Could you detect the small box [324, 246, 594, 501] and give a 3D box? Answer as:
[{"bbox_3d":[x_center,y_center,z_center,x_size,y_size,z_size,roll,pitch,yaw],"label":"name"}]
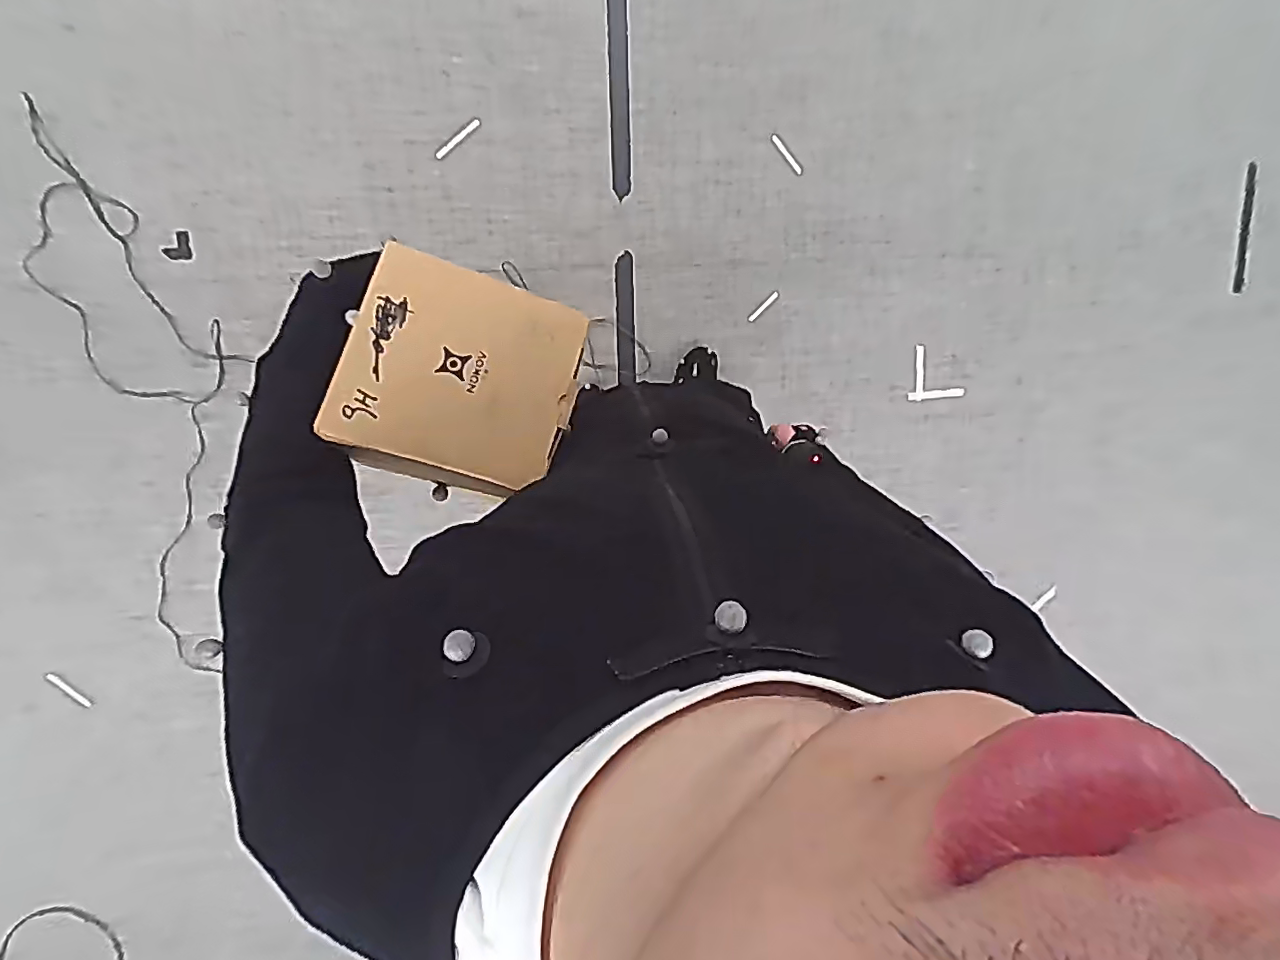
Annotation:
[{"bbox_3d":[-0.163,-0.081,0.519,0.179,0.176,0.168,17,78,-14],"label":"small box"}]
